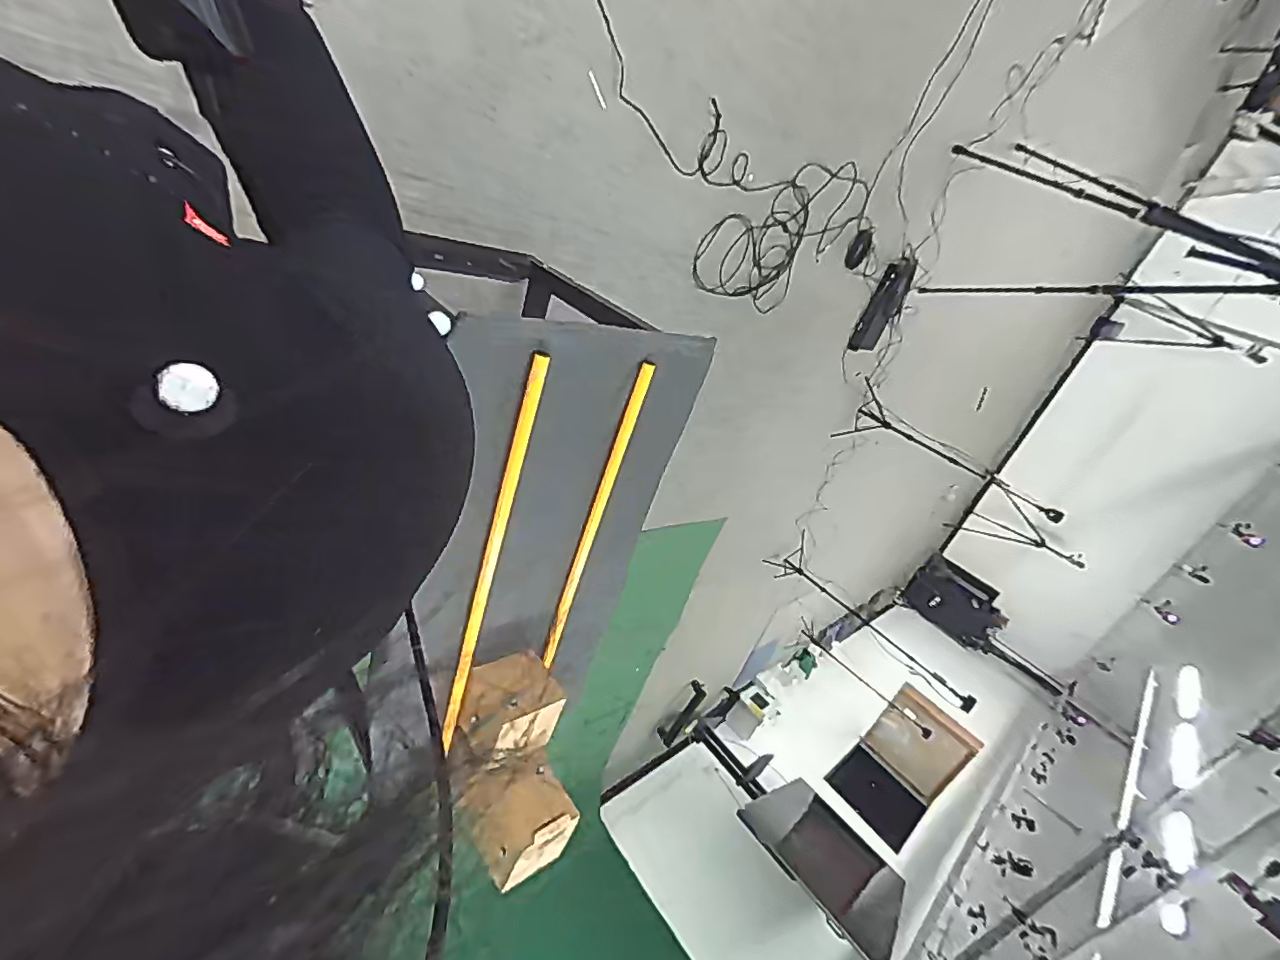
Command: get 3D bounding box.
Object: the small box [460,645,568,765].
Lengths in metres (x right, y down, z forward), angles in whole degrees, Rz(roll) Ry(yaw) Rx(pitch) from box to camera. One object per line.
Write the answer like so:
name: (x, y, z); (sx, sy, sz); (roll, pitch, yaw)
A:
small box: (-0.306, 0.529, 1.295); (0.179, 0.176, 0.168); (-5, 126, -46)

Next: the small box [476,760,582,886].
small box: (-0.273, 0.809, 1.302); (0.168, 0.176, 0.179); (-2, 124, -46)
